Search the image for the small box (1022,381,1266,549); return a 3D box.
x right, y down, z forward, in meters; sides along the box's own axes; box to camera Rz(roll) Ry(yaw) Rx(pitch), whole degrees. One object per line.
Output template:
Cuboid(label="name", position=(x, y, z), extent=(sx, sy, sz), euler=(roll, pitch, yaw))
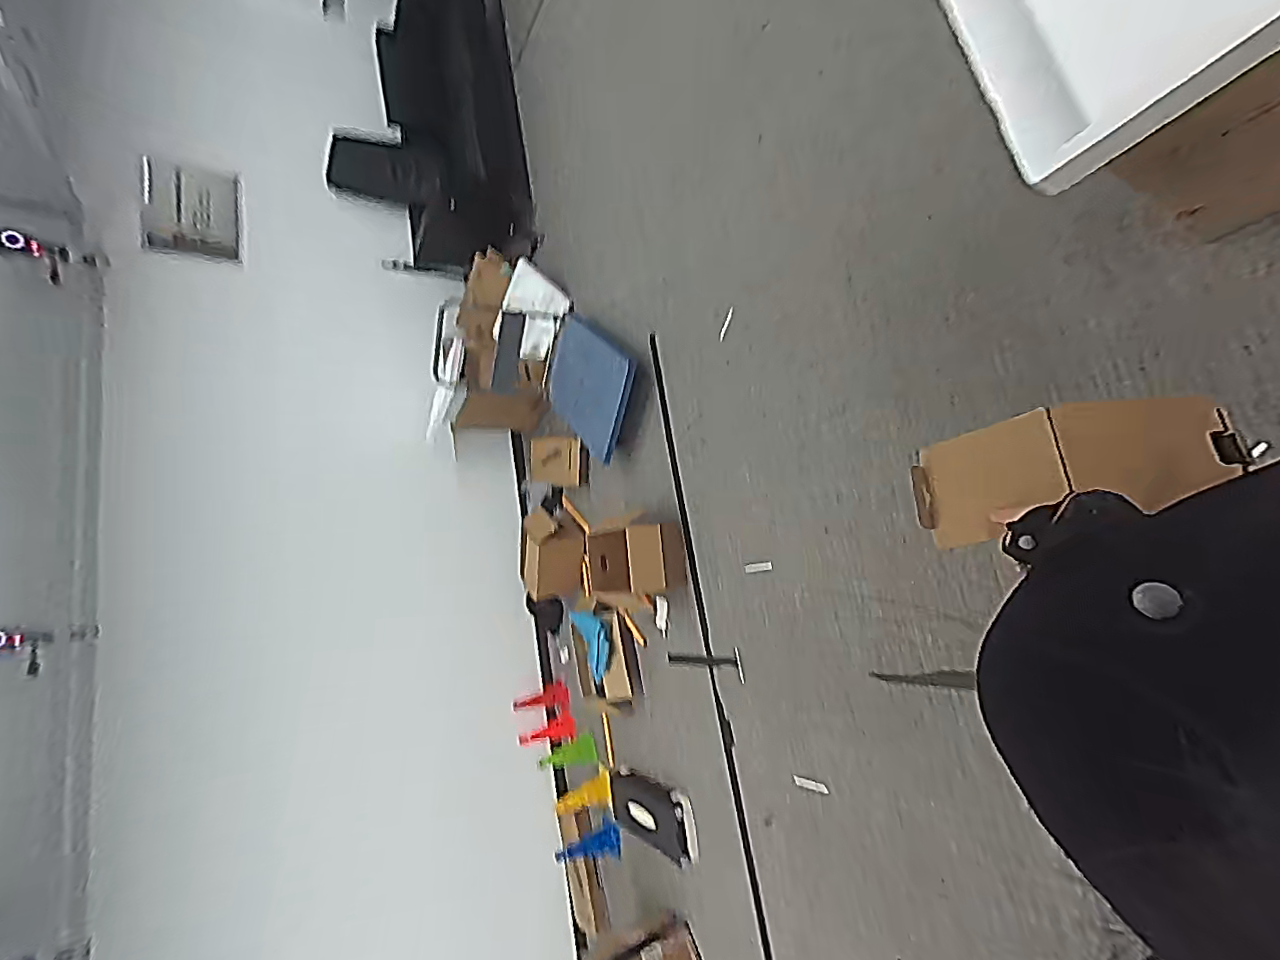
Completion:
Cuboid(label="small box", position=(0.635, -0.008, 0.717), extent=(0.179, 0.176, 0.168), euler=(-5, 67, 19))
